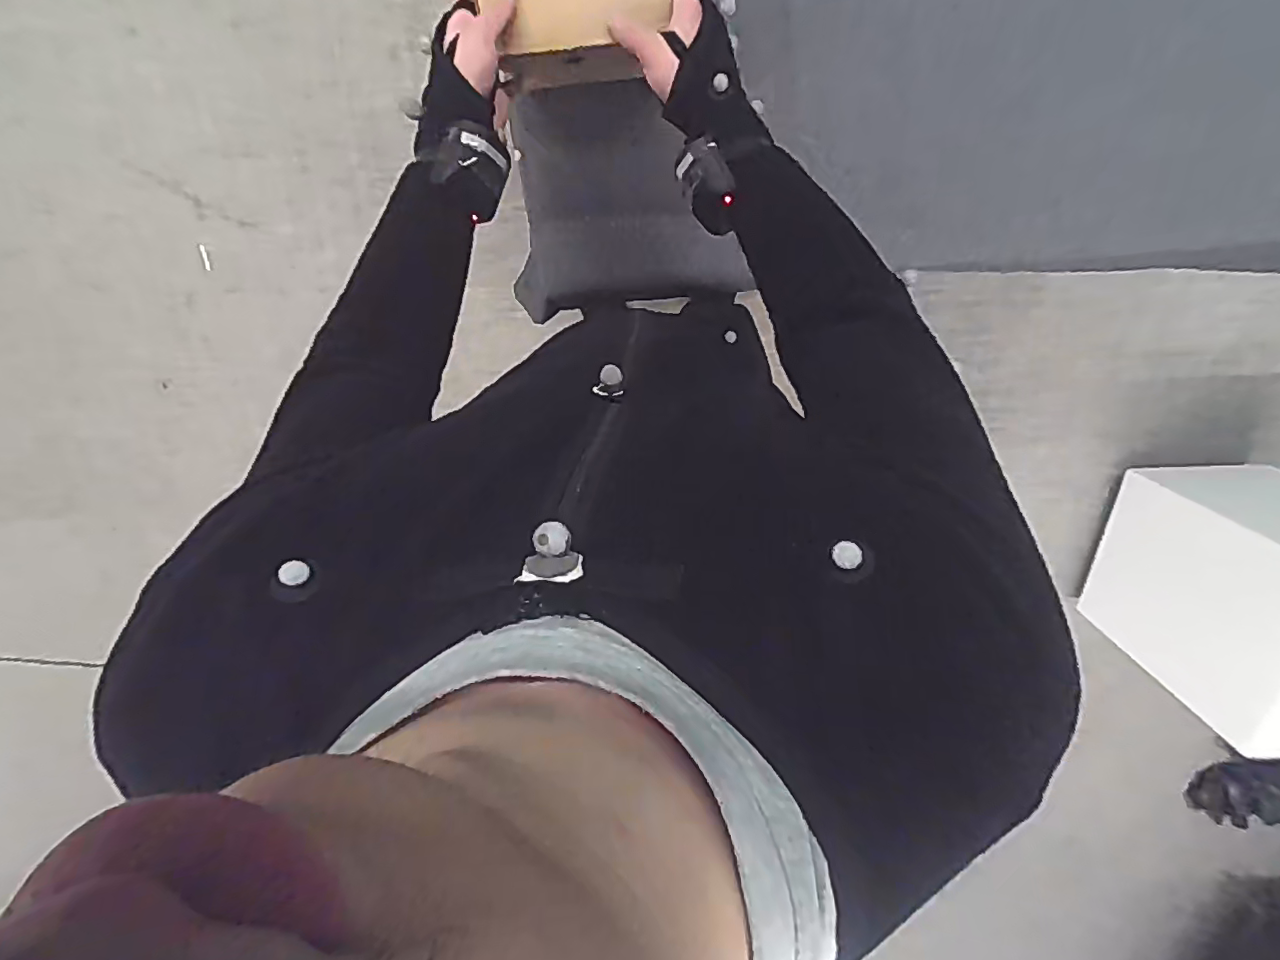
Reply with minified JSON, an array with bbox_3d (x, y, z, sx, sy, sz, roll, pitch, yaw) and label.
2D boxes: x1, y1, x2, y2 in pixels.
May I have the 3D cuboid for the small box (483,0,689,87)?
[{"bbox_3d":[-0.053,-0.489,0.506,0.179,0.176,0.168,-6,117,0],"label":"small box"}]
